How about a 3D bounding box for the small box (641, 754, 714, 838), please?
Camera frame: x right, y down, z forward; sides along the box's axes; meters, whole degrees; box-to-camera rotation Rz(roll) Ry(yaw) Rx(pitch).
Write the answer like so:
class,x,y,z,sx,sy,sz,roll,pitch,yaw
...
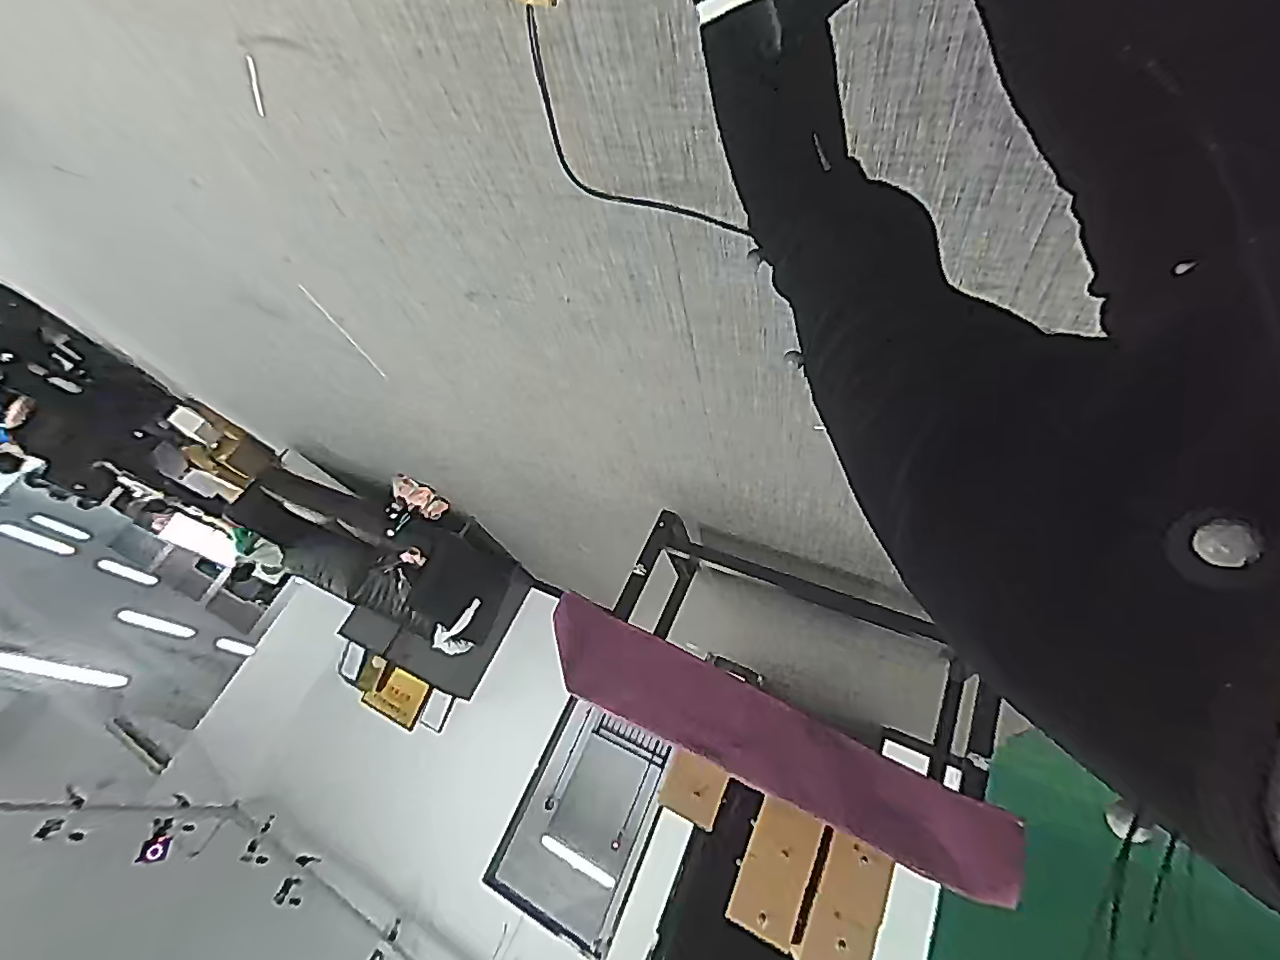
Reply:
class,x,y,z,sx,sy,sz,roll,pitch,yaw
small box,0.121,0.972,1.675,0.179,0.176,0.168,20,155,15
